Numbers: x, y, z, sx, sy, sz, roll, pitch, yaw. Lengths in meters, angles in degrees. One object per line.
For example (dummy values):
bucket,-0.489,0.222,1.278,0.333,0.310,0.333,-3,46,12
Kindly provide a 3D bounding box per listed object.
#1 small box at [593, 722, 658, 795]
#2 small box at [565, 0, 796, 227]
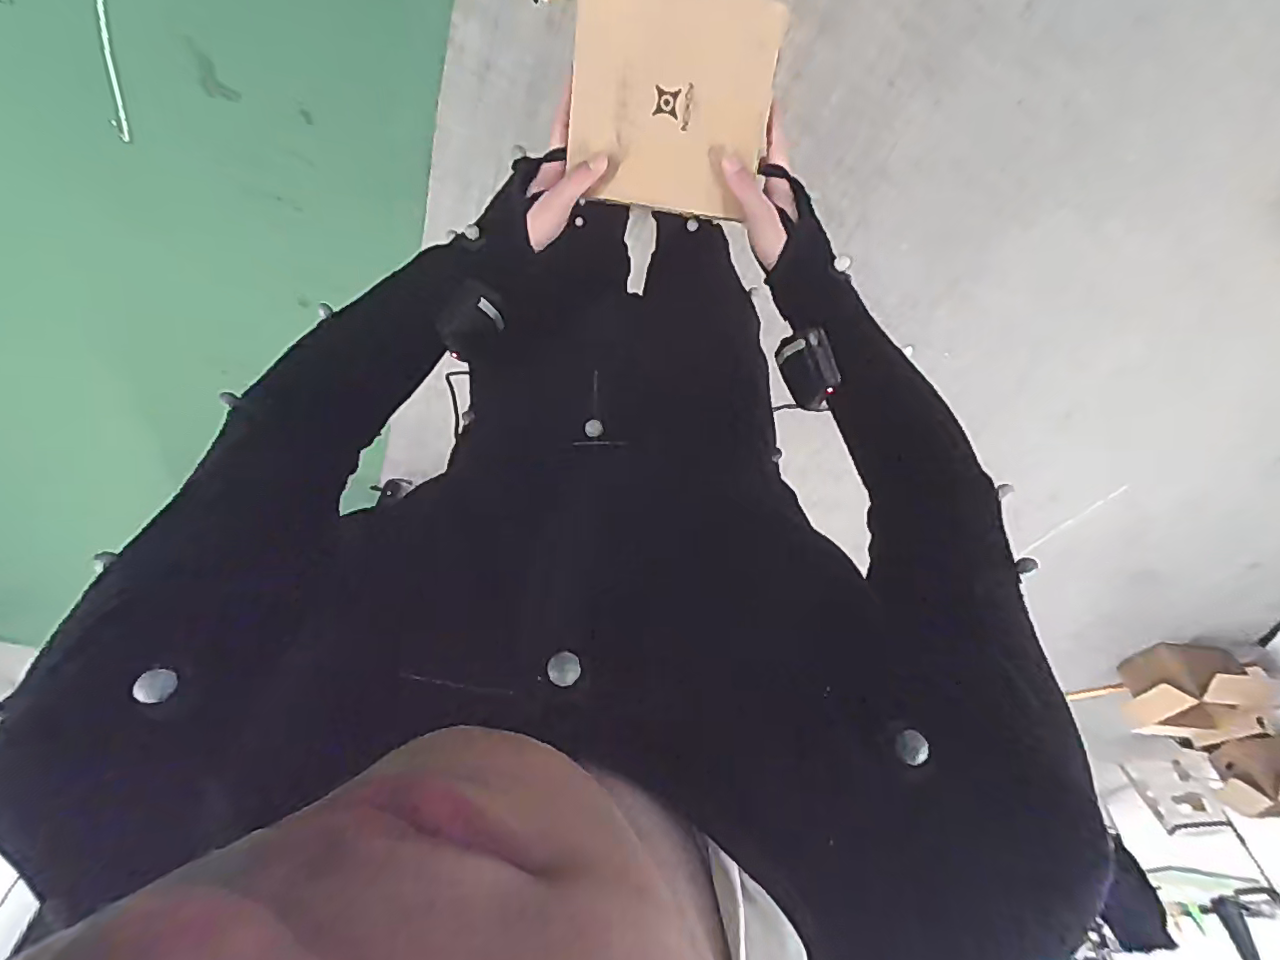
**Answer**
small box,-0.044,0.926,1.798,0.168,0.176,0.179,16,135,-15
small box,0.028,-0.354,0.533,0.179,0.176,0.168,7,115,-4
